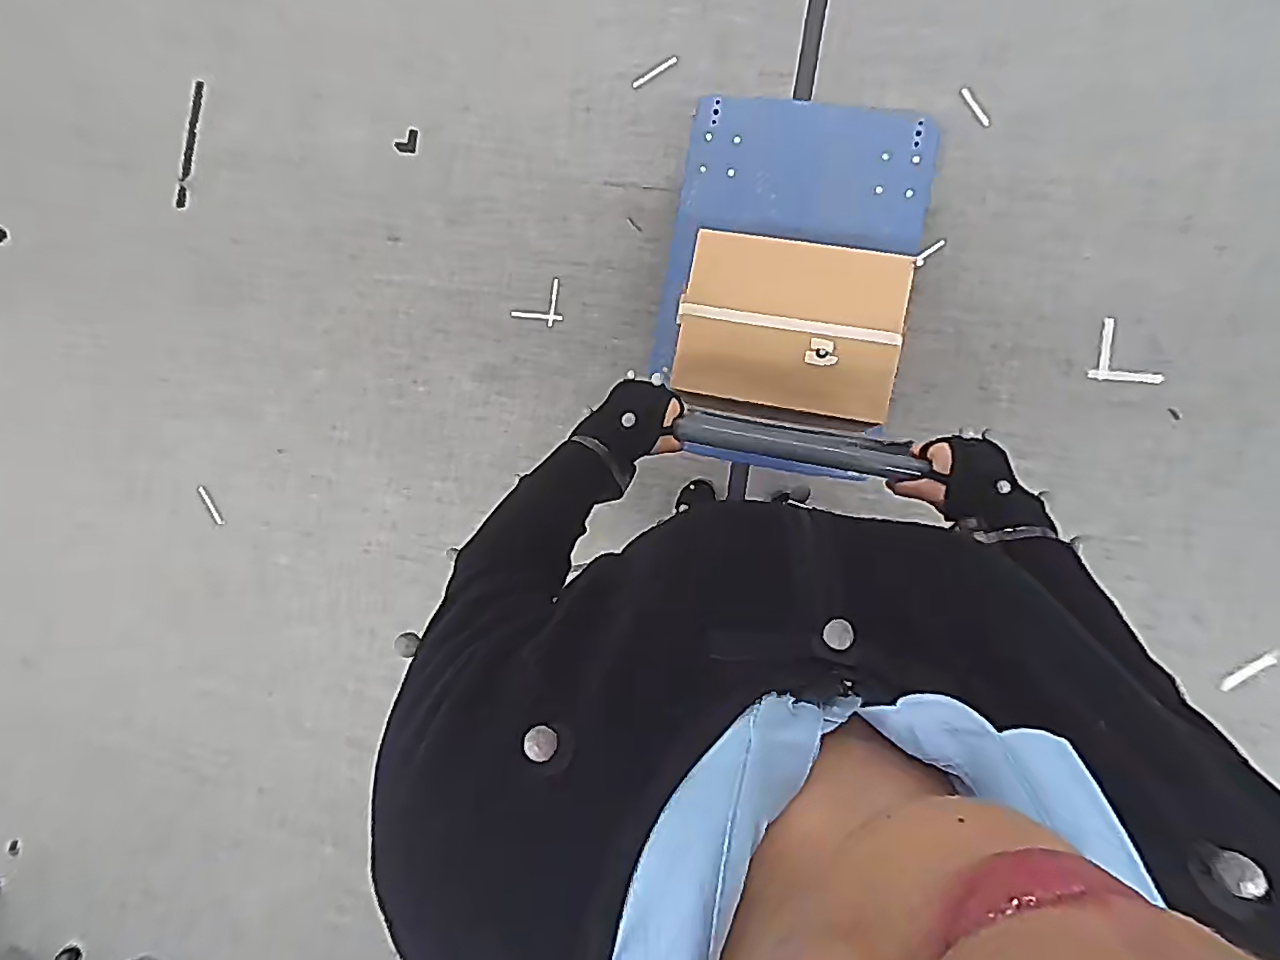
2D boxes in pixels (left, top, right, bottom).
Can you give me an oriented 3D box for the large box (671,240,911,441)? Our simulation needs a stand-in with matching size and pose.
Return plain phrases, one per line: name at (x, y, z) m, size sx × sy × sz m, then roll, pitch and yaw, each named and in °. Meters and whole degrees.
large box at (0.292, -0.274, 1.157) m, size 0.408 × 0.320 × 0.320 m, roll 10°, pitch 92°, yaw 6°
